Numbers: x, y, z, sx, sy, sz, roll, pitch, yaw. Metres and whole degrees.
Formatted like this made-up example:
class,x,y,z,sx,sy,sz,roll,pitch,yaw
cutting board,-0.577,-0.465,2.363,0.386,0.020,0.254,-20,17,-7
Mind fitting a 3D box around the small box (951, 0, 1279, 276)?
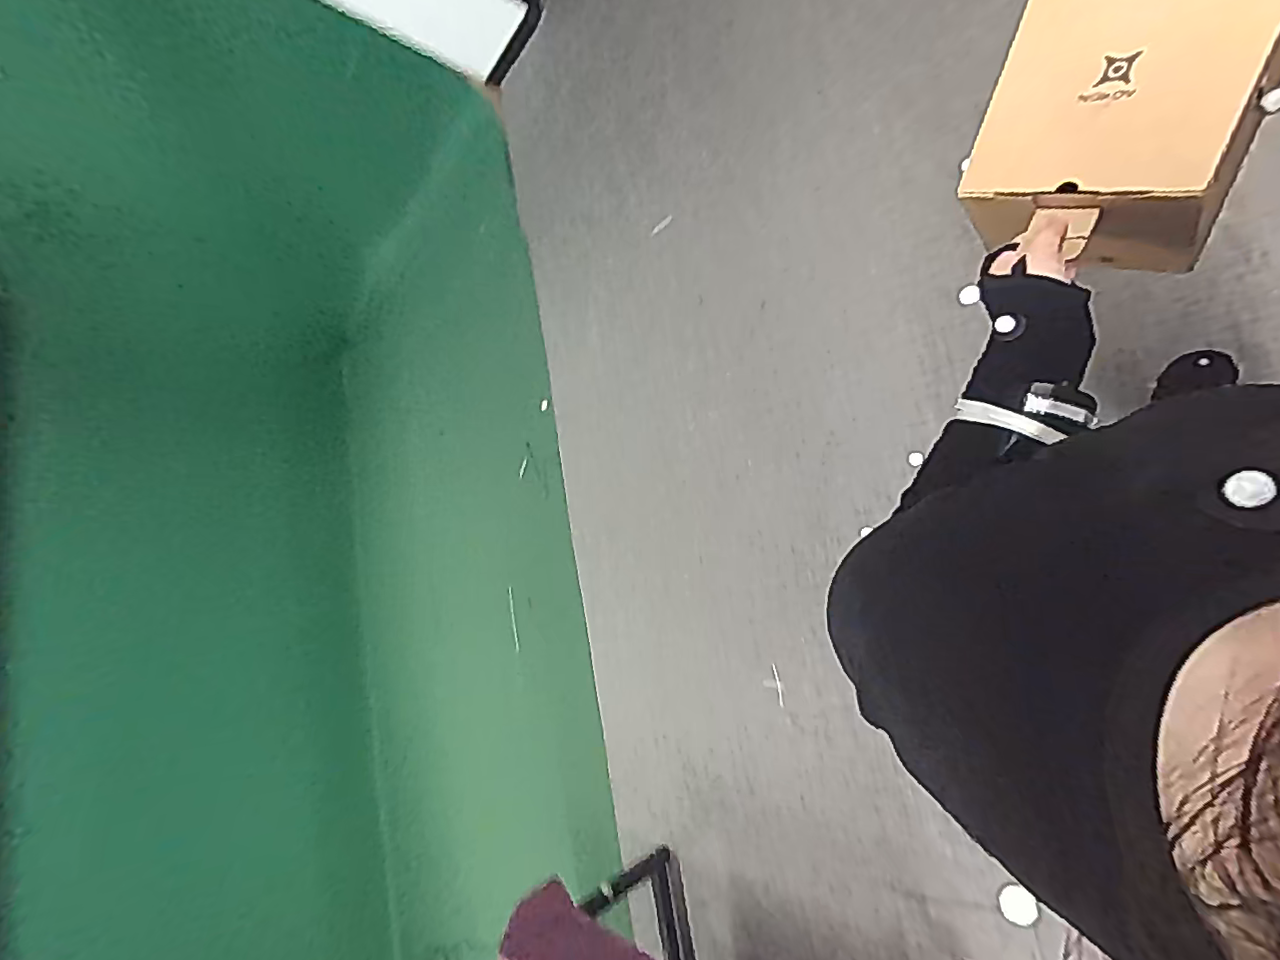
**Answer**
class,x,y,z,sx,sy,sz,roll,pitch,yaw
small box,0.410,-0.302,0.481,0.168,0.176,0.179,25,105,40
